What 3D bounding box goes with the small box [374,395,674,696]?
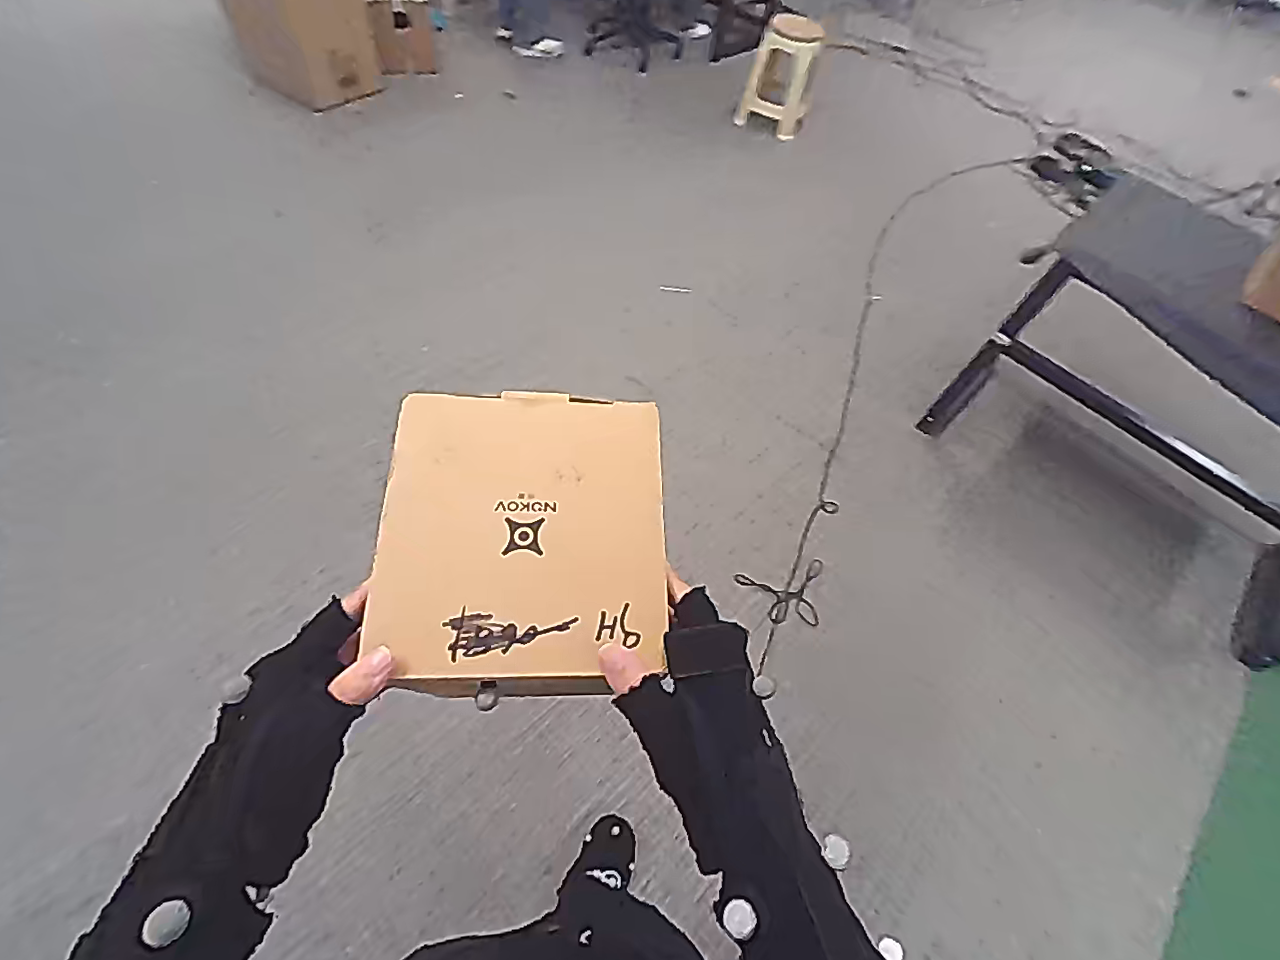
[{"bbox_3d":[-0.069,0.059,0.403,0.168,0.176,0.179,2,64,-5],"label":"small box"}]
